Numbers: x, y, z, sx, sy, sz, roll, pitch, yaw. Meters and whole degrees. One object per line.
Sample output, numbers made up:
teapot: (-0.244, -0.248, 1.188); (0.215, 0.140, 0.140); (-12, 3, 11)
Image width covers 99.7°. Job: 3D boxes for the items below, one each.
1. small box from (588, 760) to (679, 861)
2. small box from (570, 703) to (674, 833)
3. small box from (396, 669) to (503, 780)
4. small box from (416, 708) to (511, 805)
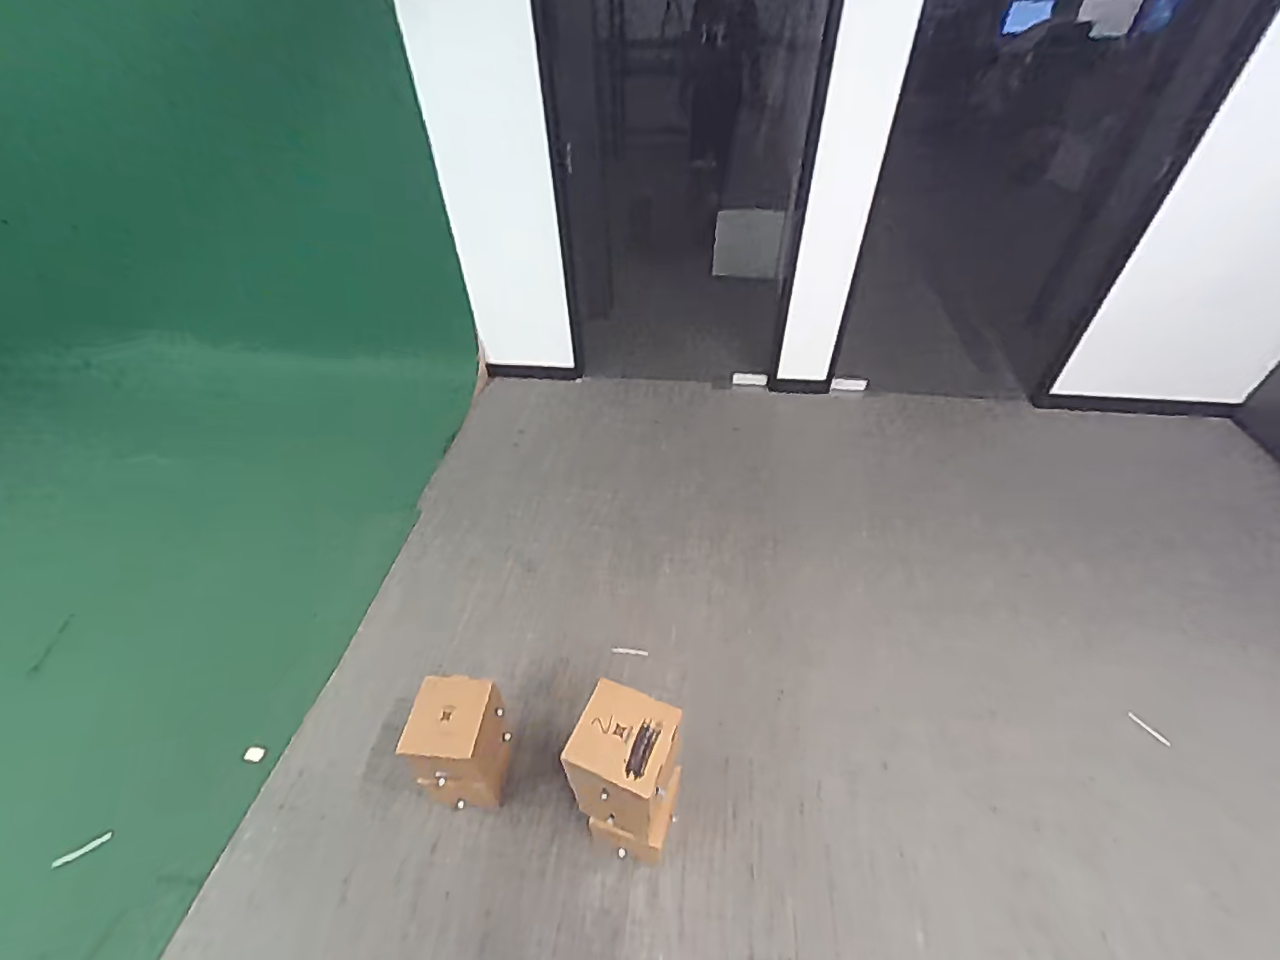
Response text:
small box: (-0.012, 0.750, 1.263); (0.168, 0.176, 0.179); (12, 46, 14)
small box: (-0.030, 0.622, 1.162); (0.168, 0.176, 0.179); (15, 47, 16)
small box: (-0.421, 0.558, 1.235); (0.168, 0.176, 0.179); (1, 44, 4)
small box: (-0.426, 0.679, 1.344); (0.168, 0.176, 0.179); (2, 44, 3)
